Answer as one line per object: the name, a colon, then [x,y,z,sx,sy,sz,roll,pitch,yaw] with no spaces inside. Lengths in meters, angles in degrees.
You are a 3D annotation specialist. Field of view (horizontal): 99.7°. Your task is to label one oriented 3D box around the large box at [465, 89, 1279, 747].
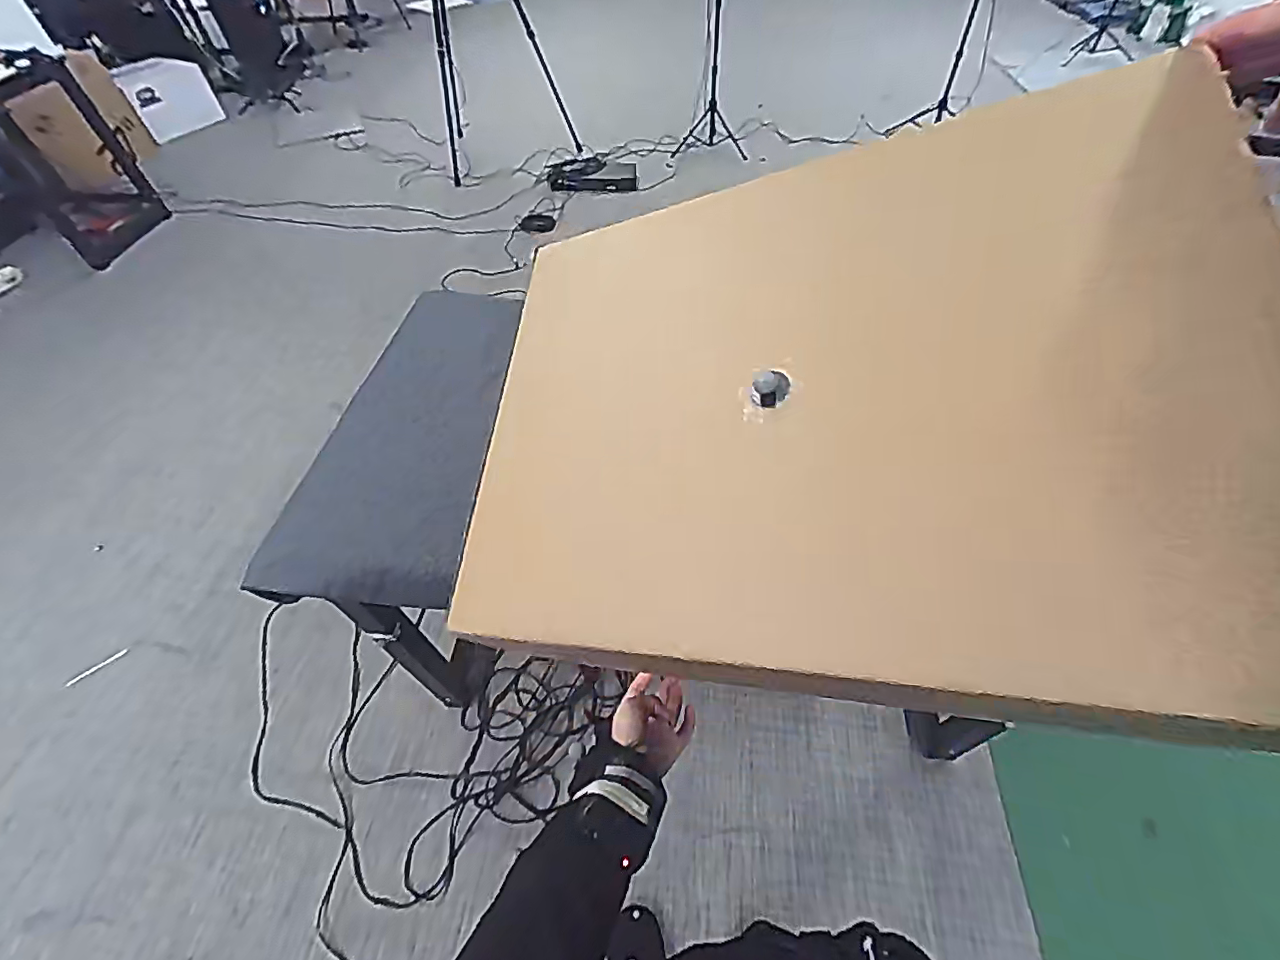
large box: [0.142,0.008,0.426,0.408,0.320,0.320,-5,66,26]
